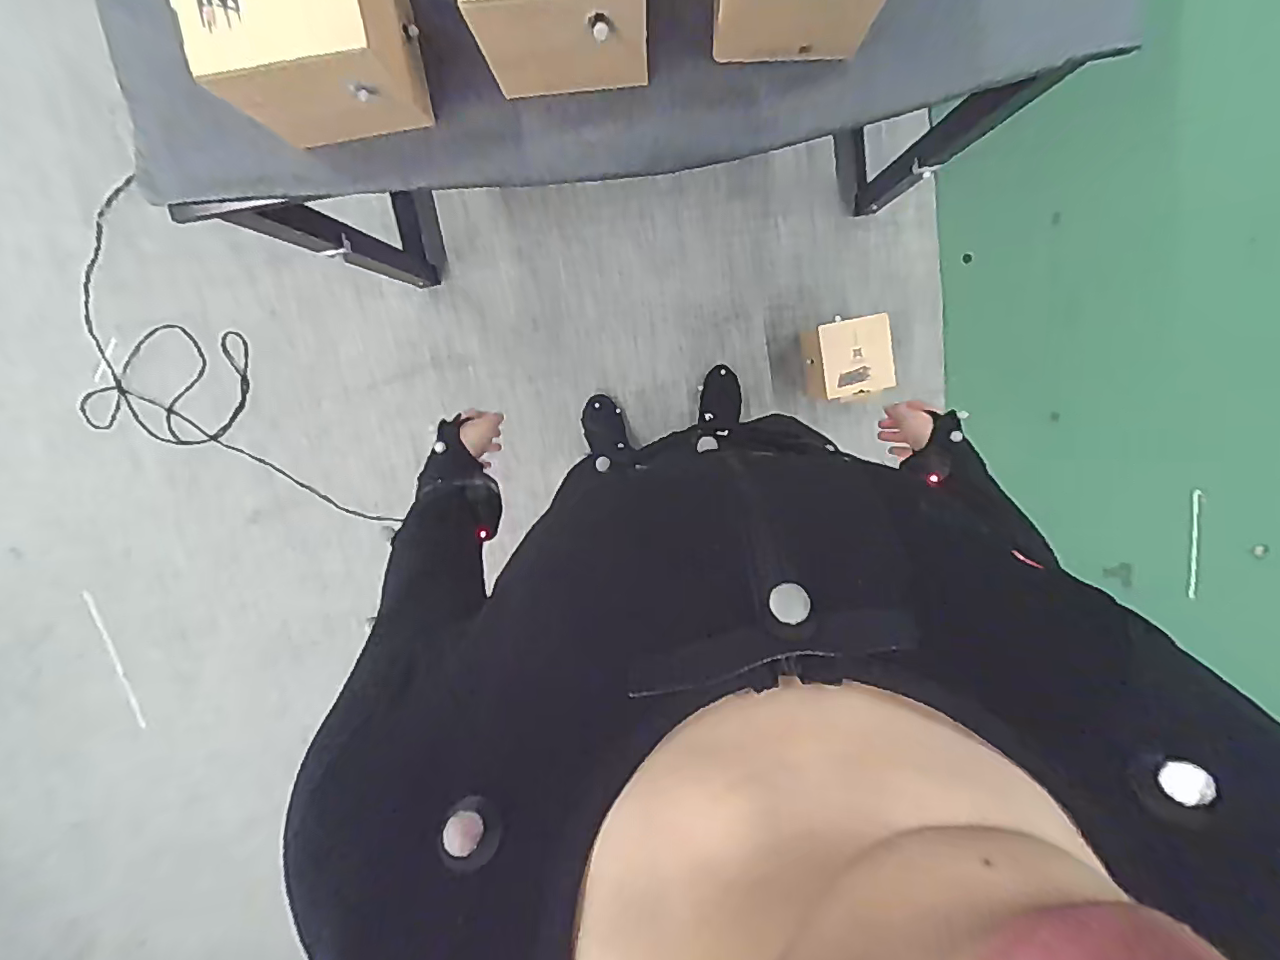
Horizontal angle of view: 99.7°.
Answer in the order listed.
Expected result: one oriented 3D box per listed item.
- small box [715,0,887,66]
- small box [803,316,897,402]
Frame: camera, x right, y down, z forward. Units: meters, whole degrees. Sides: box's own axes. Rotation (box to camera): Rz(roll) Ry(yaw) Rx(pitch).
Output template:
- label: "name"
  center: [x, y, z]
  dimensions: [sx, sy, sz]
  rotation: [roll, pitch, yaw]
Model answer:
- label: "small box"
  center: [0.167, -0.564, 0.545]
  dimensions: [0.168, 0.176, 0.179]
  rotation: [0, 99, 2]
- label: "small box"
  center: [0.513, -0.296, 1.334]
  dimensions: [0.168, 0.176, 0.179]
  rotation: [-10, 100, 4]
